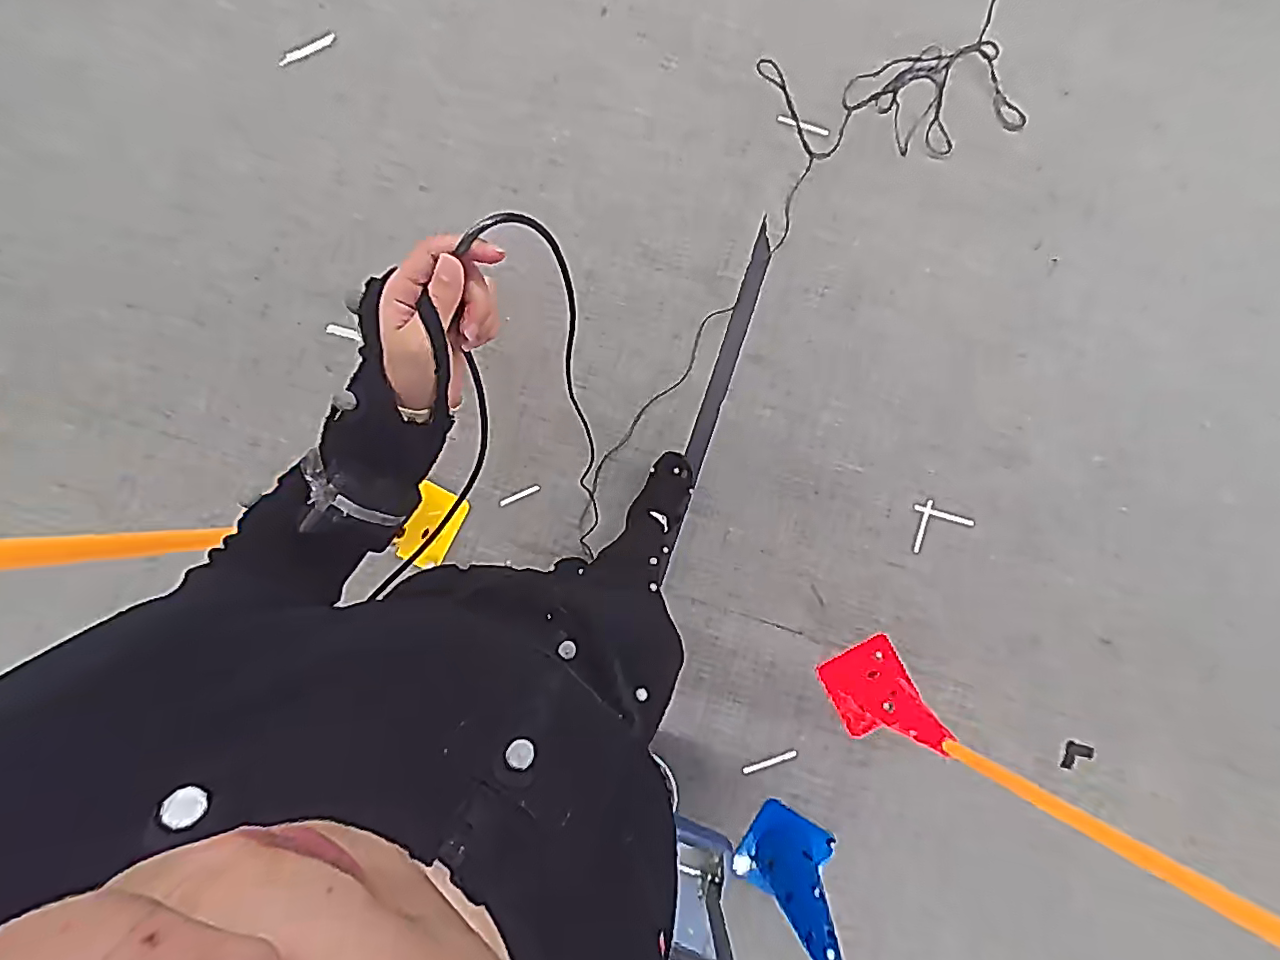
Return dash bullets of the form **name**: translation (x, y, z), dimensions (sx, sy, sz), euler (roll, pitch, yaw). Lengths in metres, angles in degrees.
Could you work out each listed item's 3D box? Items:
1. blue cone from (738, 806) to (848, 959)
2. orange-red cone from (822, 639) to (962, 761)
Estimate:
- **blue cone**: translation (0.349, 0.887, 1.126), dimensions (0.193, 0.380, 0.192), euler (33, 86, 2)
- **orange-red cone**: translation (0.560, 0.497, 1.138), dimensions (0.199, 0.360, 0.198), euler (-27, 86, 0)
